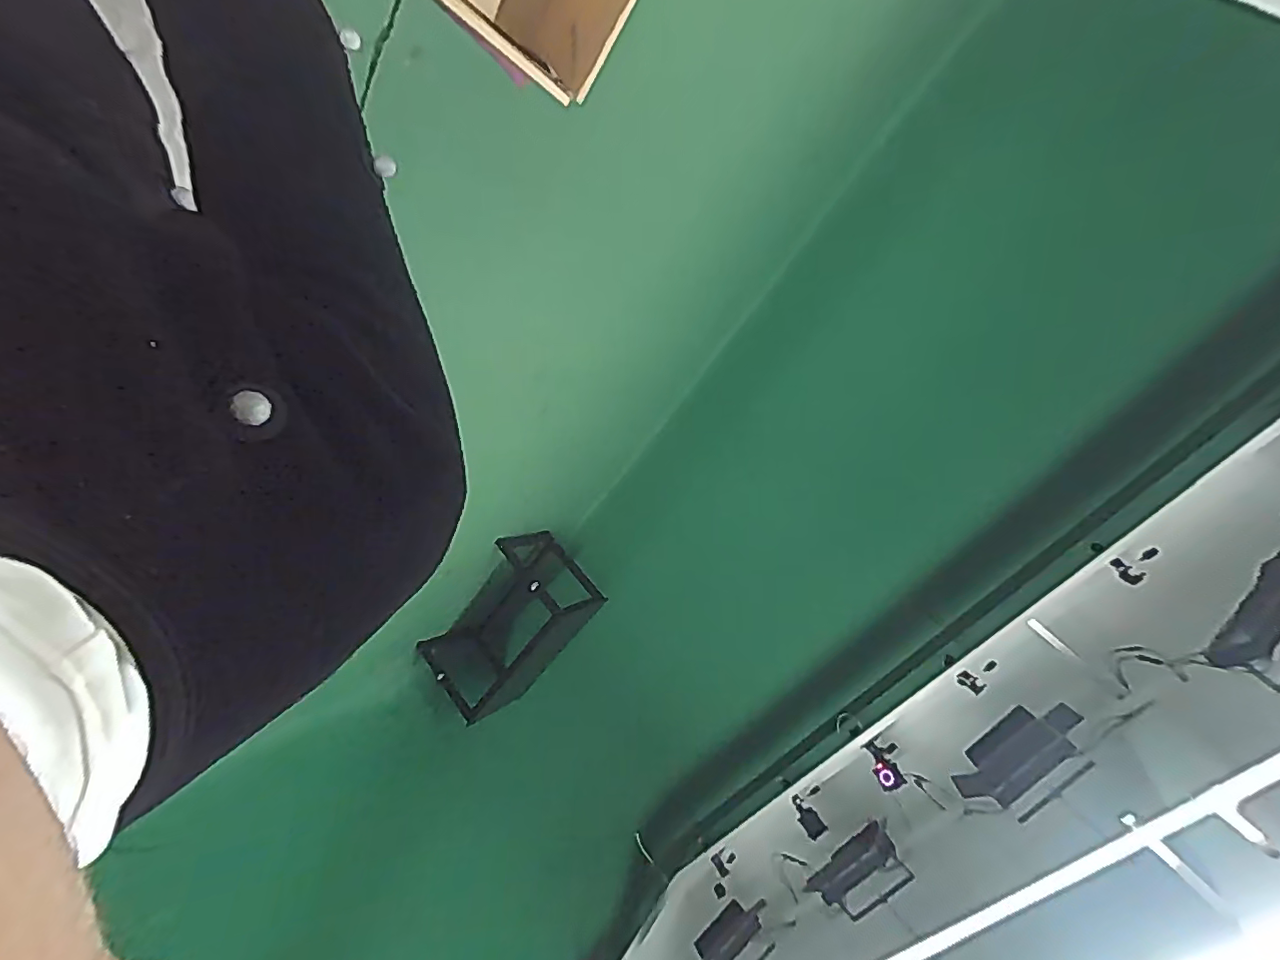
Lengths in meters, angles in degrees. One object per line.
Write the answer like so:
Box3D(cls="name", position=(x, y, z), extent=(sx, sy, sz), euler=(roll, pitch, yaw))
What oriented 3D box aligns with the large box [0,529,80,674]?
Box3D(cls="large box", position=(-1.876, 0.366, 1.435), extent=(0.408, 0.320, 0.320), euler=(-32, 159, -33))
